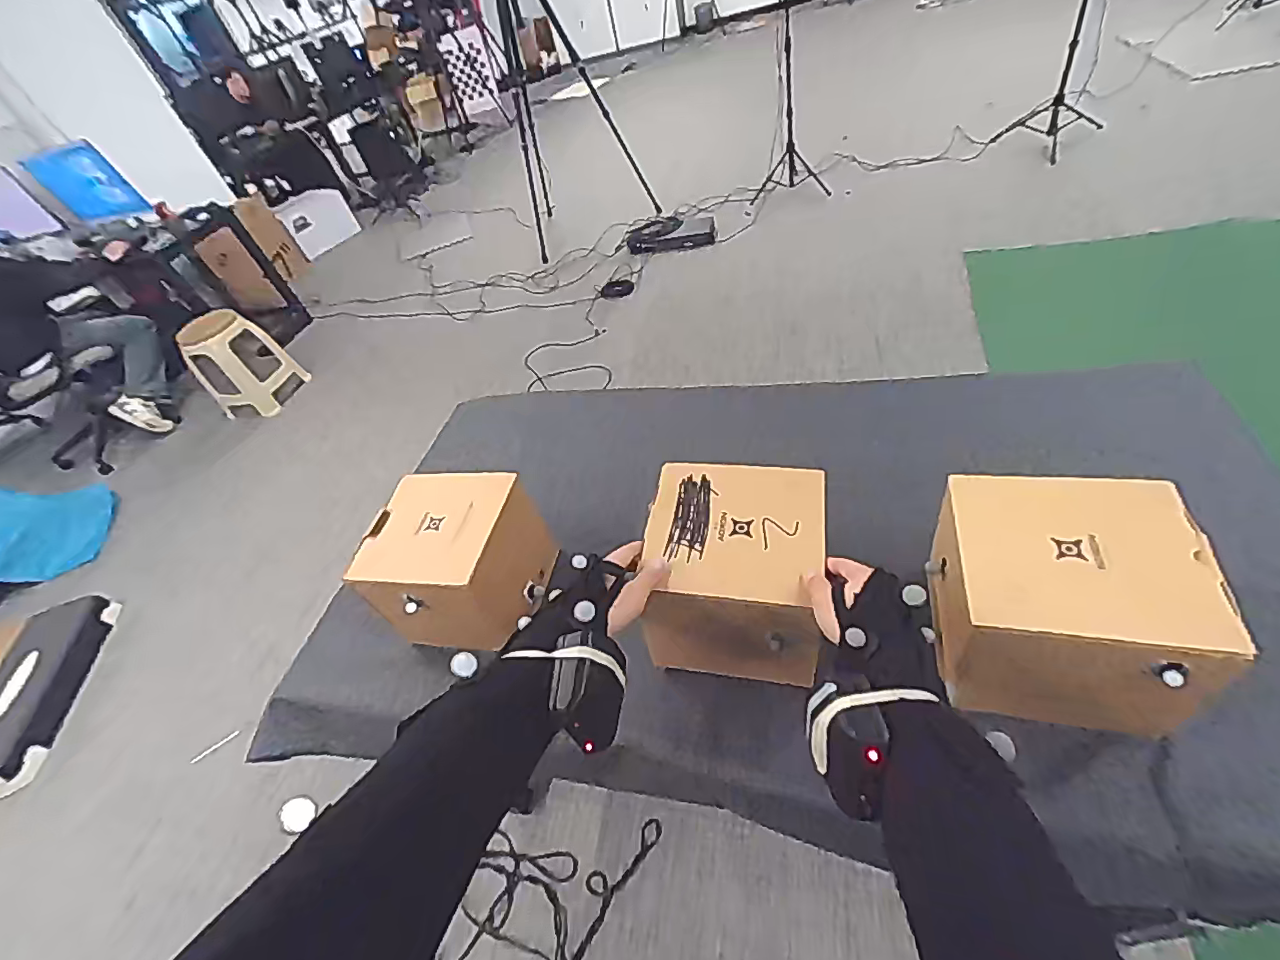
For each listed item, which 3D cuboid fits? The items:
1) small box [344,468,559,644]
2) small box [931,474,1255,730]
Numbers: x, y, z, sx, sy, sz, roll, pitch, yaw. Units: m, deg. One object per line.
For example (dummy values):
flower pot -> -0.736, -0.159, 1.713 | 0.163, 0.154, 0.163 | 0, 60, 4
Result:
small box -> -0.230, 0.100, 0.708 | 0.179, 0.176, 0.168 | 0, 49, 16
small box -> 0.380, 0.111, 0.503 | 0.179, 0.176, 0.168 | 2, 48, 19
